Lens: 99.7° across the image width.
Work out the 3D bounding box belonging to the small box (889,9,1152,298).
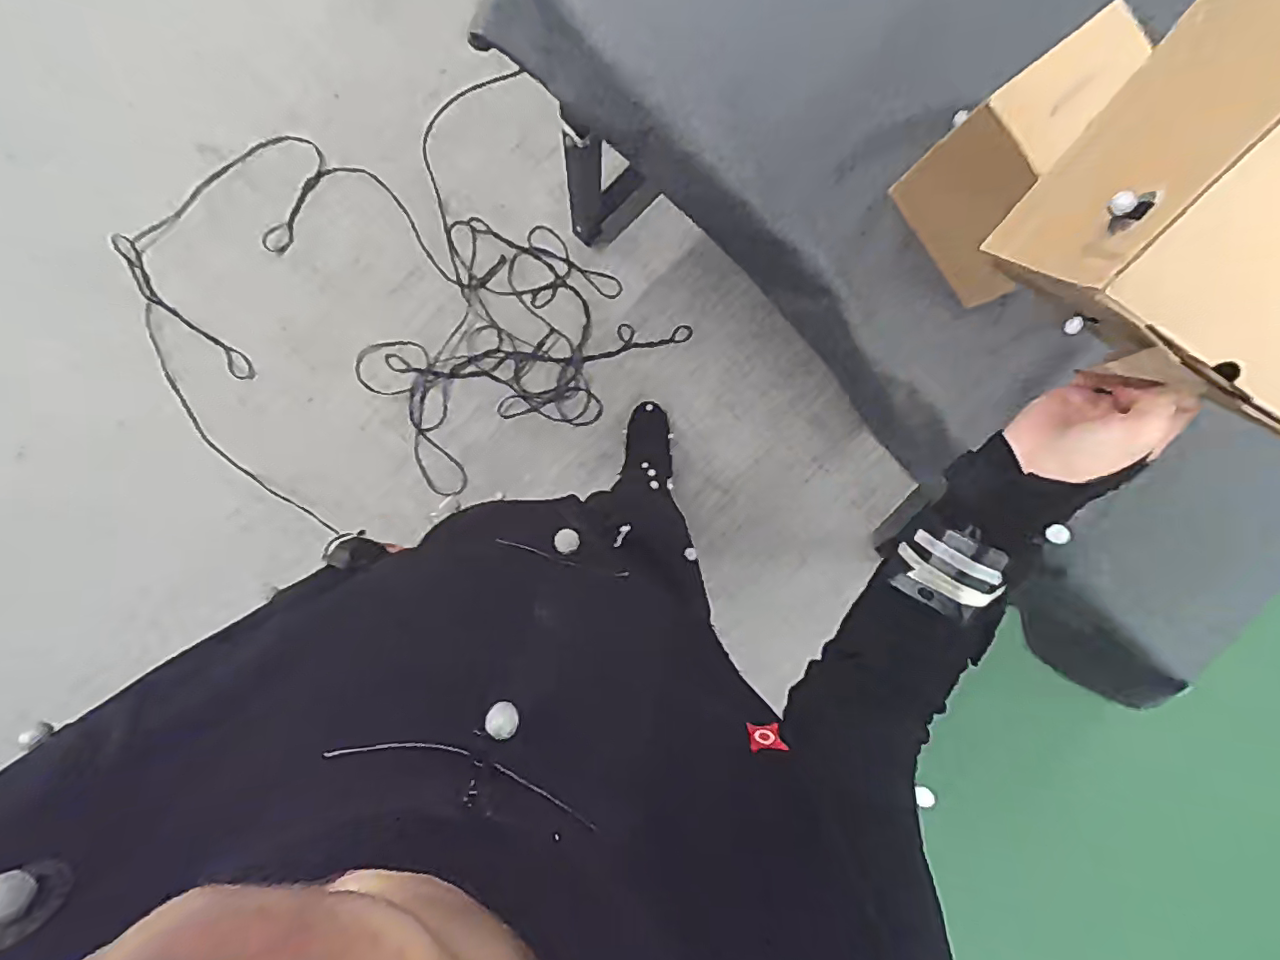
[{"bbox_3d":[0.413,-0.318,0.575,0.168,0.176,0.179,-38,94,-4],"label":"small box"}]

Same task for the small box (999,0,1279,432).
[{"bbox_3d":[0.355,-0.156,0.303,0.168,0.176,0.179,31,122,-7],"label":"small box"}]
